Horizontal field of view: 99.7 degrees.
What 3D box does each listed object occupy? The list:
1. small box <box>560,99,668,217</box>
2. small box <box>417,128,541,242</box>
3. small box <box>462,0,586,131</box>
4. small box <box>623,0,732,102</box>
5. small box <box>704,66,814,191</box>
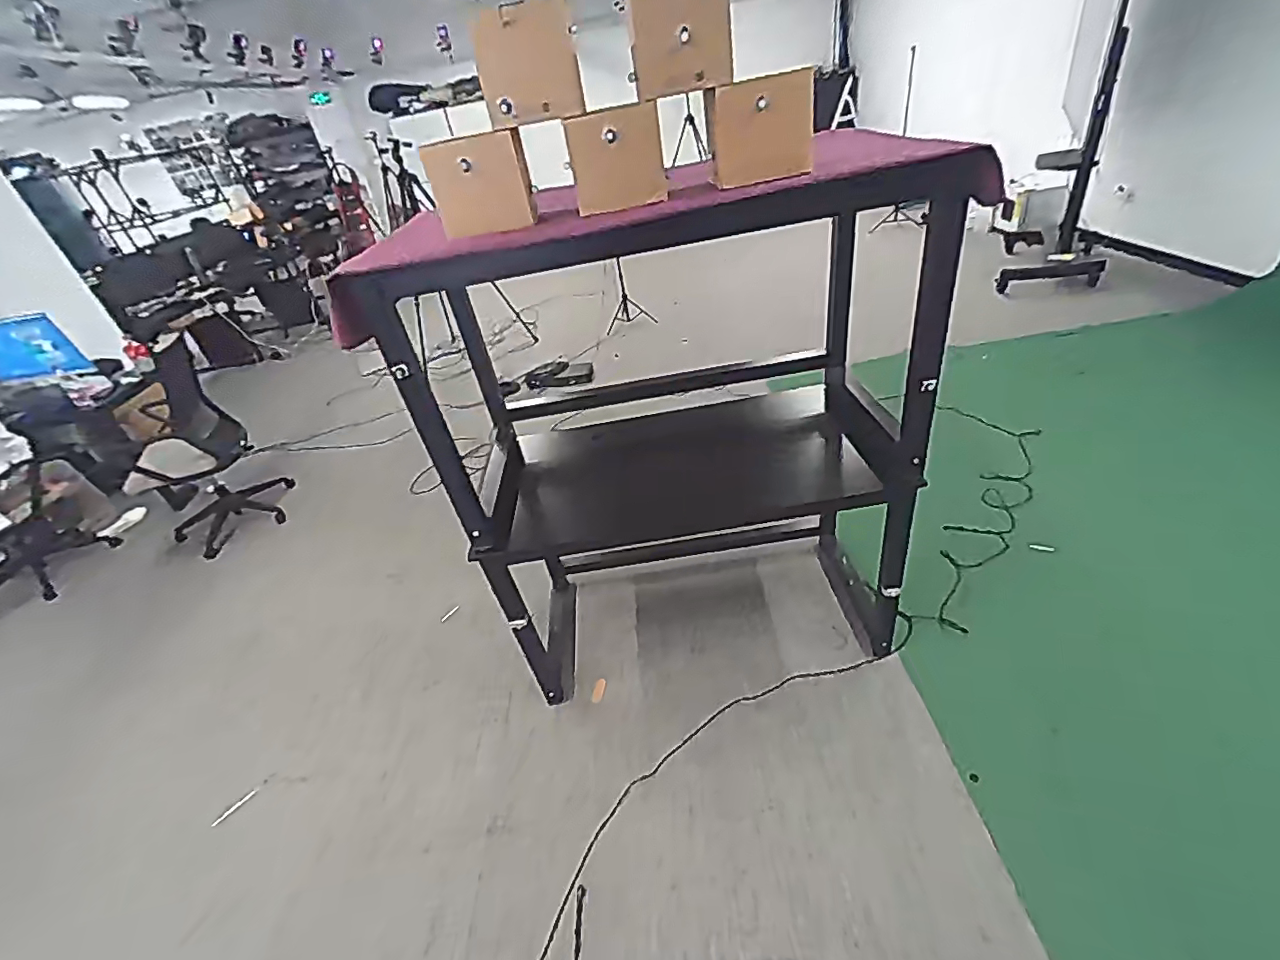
[{"bbox_3d":[-0.047,-0.631,1.063,0.179,0.176,0.168,-9,36,3],"label":"small box"},{"bbox_3d":[-0.312,-0.592,1.084,0.179,0.176,0.168,-11,36,2],"label":"small box"},{"bbox_3d":[-0.199,-0.750,0.986,0.168,0.176,0.179,-8,35,4],"label":"small box"},{"bbox_3d":[0.066,-0.793,0.971,0.168,0.176,0.179,-10,36,3],"label":"small box"},{"bbox_3d":[0.227,-0.680,1.050,0.179,0.176,0.168,-11,35,4],"label":"small box"}]
